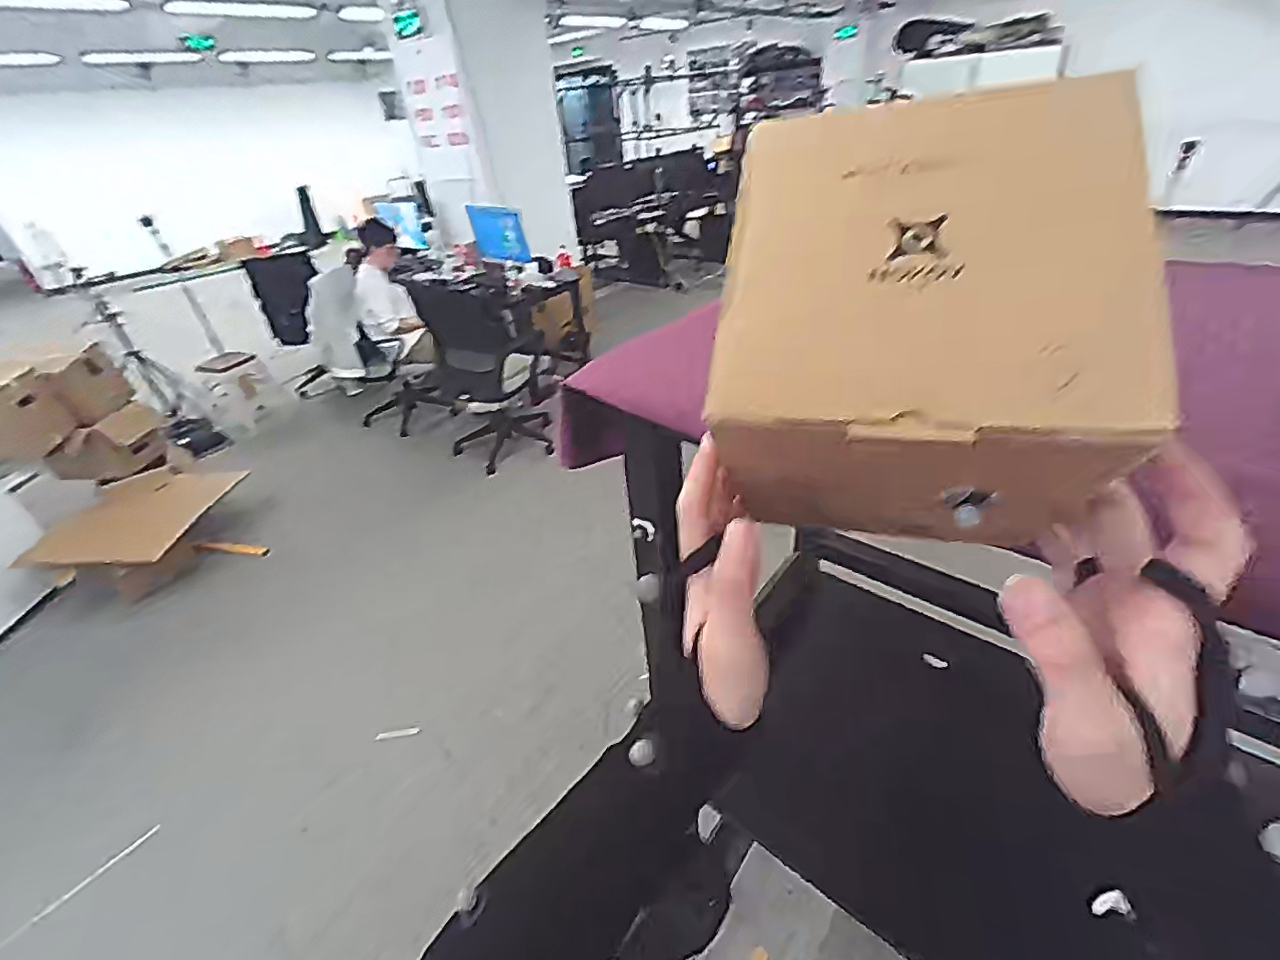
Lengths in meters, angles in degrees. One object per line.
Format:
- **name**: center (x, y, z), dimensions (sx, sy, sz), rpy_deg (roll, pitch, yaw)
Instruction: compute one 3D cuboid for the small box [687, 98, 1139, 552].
- **small box**: center (0.134, -0.064, 0.309), dimensions (0.168, 0.176, 0.179), rpy_deg (4, 71, 19)
